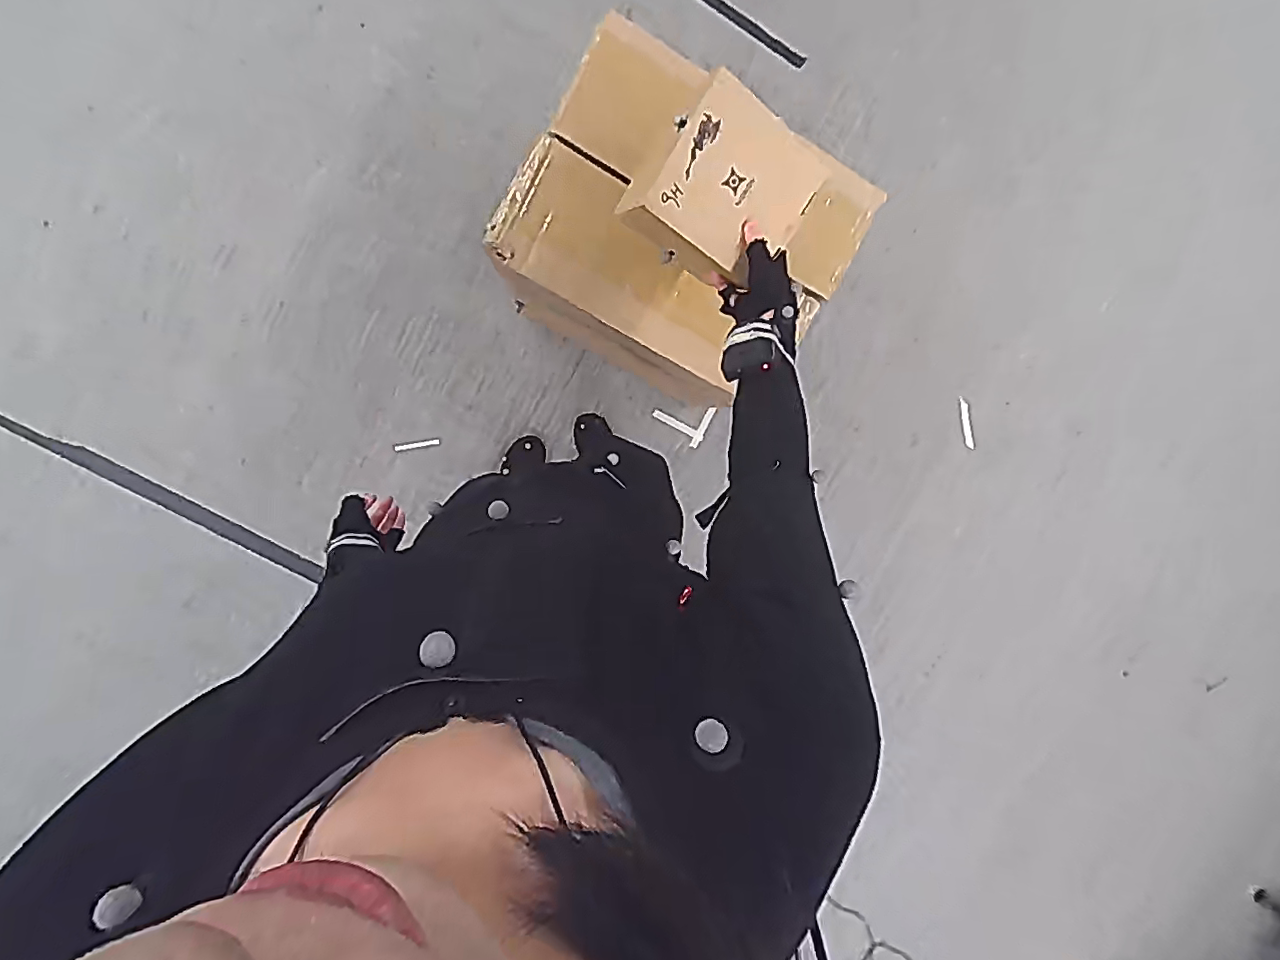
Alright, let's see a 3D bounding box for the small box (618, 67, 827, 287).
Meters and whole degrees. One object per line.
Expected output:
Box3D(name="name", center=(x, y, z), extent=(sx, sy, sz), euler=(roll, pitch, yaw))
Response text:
Box3D(name="small box", center=(0.095, -0.374, 0.700), extent=(0.179, 0.176, 0.168), euler=(27, 102, -23))
